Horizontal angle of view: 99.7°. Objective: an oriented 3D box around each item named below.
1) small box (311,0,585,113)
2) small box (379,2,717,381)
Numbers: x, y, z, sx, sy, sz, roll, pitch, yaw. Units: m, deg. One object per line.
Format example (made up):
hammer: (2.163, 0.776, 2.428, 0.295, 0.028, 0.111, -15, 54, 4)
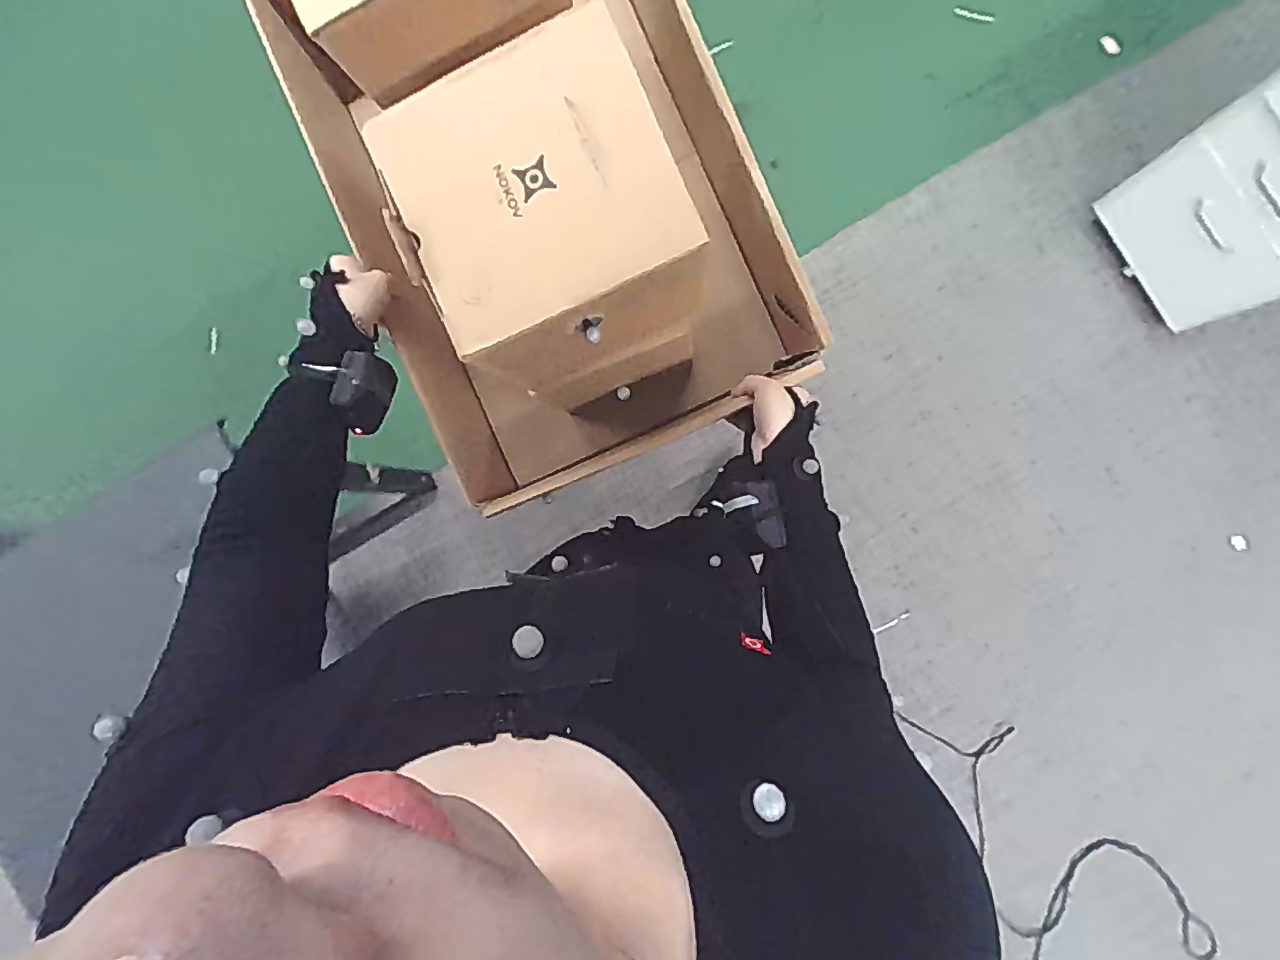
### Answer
small box: (-0.151, -0.402, 0.421, 0.179, 0.176, 0.168, -24, 92, 5)
small box: (-0.053, -0.190, 0.420, 0.179, 0.176, 0.168, -24, 91, 5)
